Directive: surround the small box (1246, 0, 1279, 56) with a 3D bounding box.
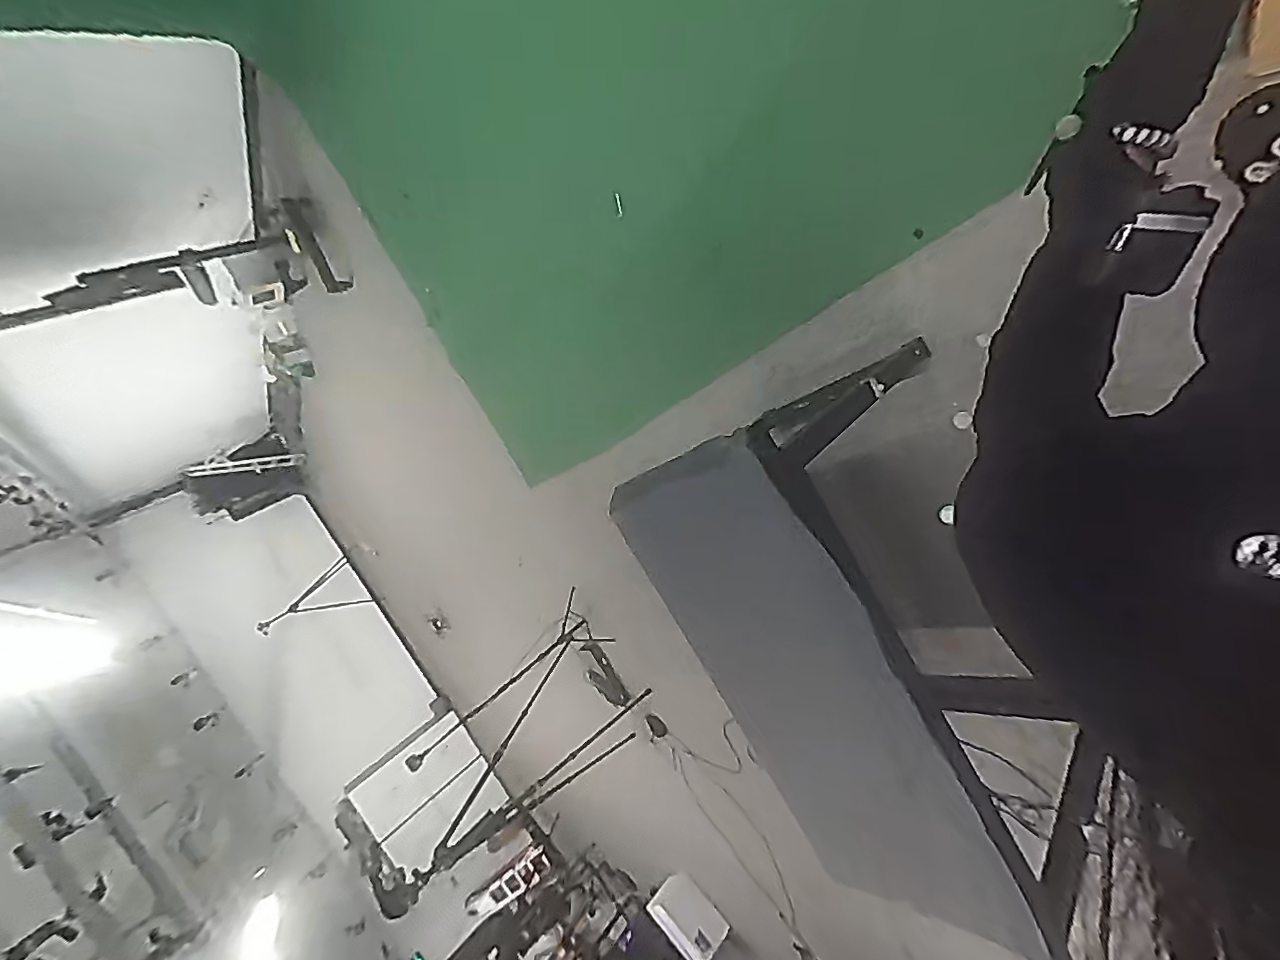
[{"bbox_3d":[0.398,-0.327,0.233,0.168,0.176,0.179,9,132,43],"label":"small box"}]
